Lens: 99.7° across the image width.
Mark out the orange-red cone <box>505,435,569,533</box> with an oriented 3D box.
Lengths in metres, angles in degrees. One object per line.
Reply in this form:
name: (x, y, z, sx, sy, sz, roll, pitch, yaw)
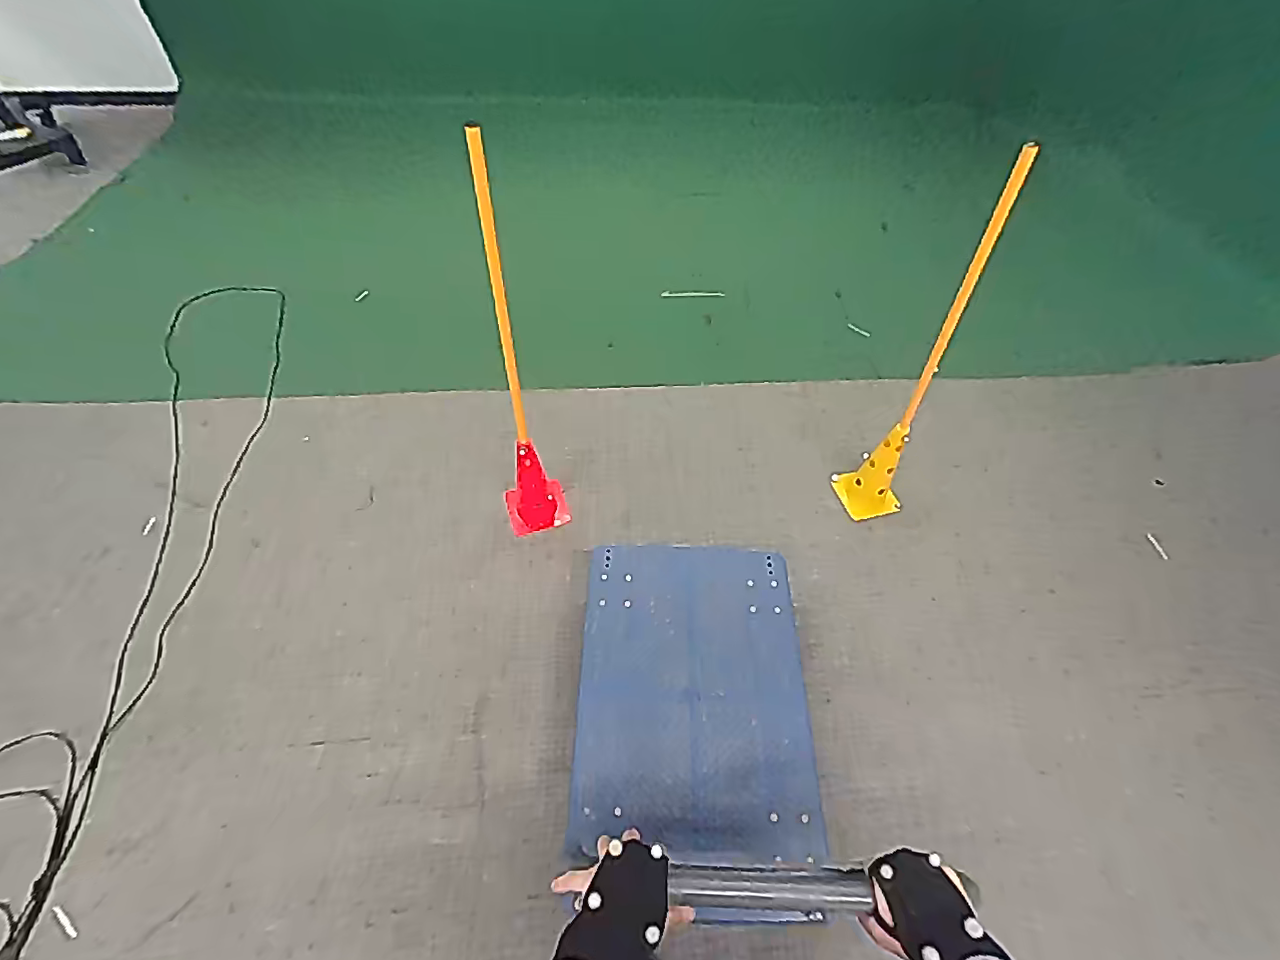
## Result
orange-red cone: (-0.359, -0.014, 1.755, 0.199, 0.360, 0.198, -15, 54, -12)
